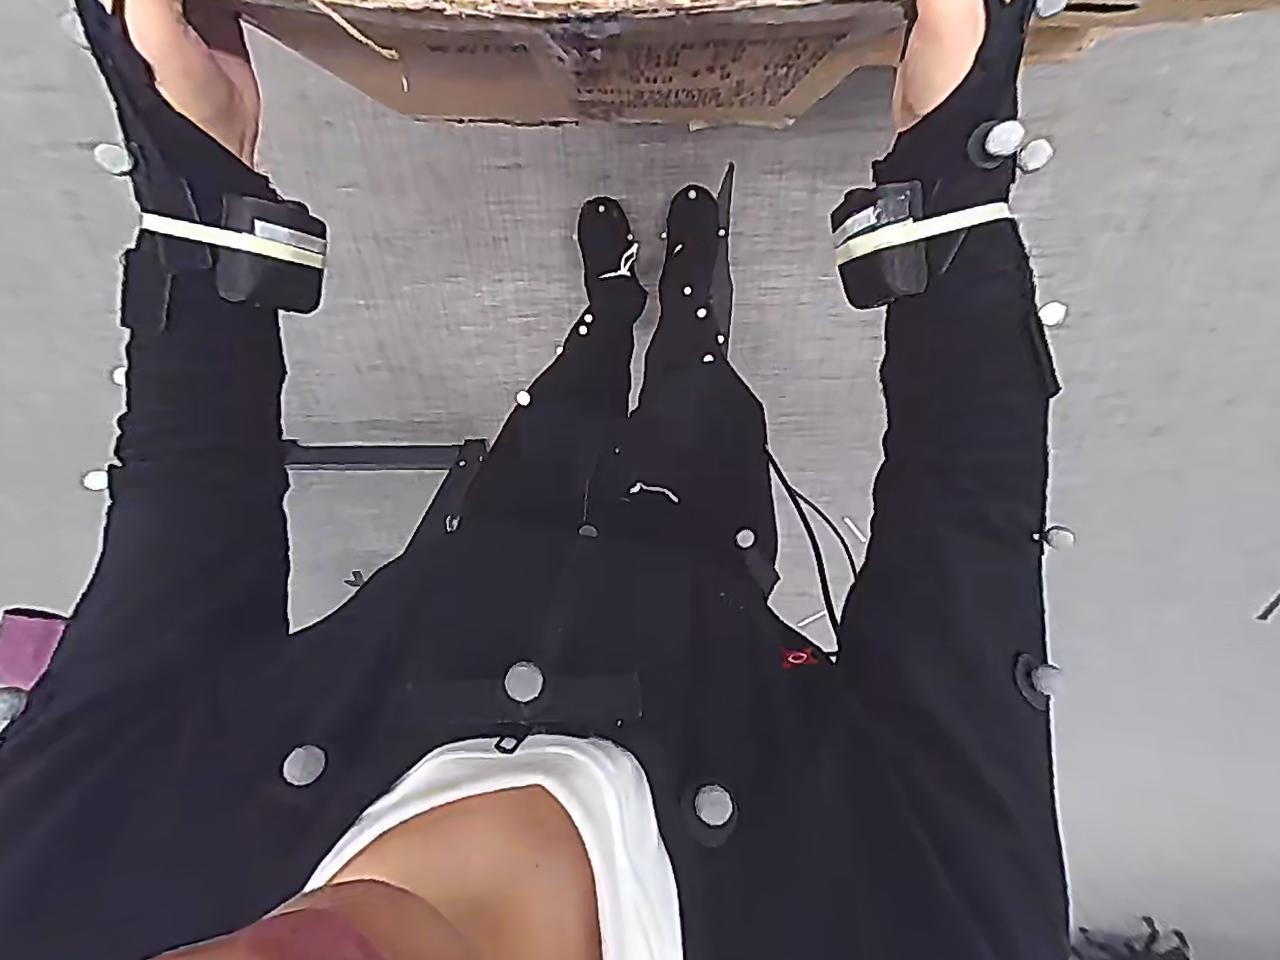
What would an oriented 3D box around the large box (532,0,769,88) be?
[{"bbox_3d":[0.009,-0.805,0.752,0.320,0.320,0.408,-1,126,3],"label":"large box"}]
